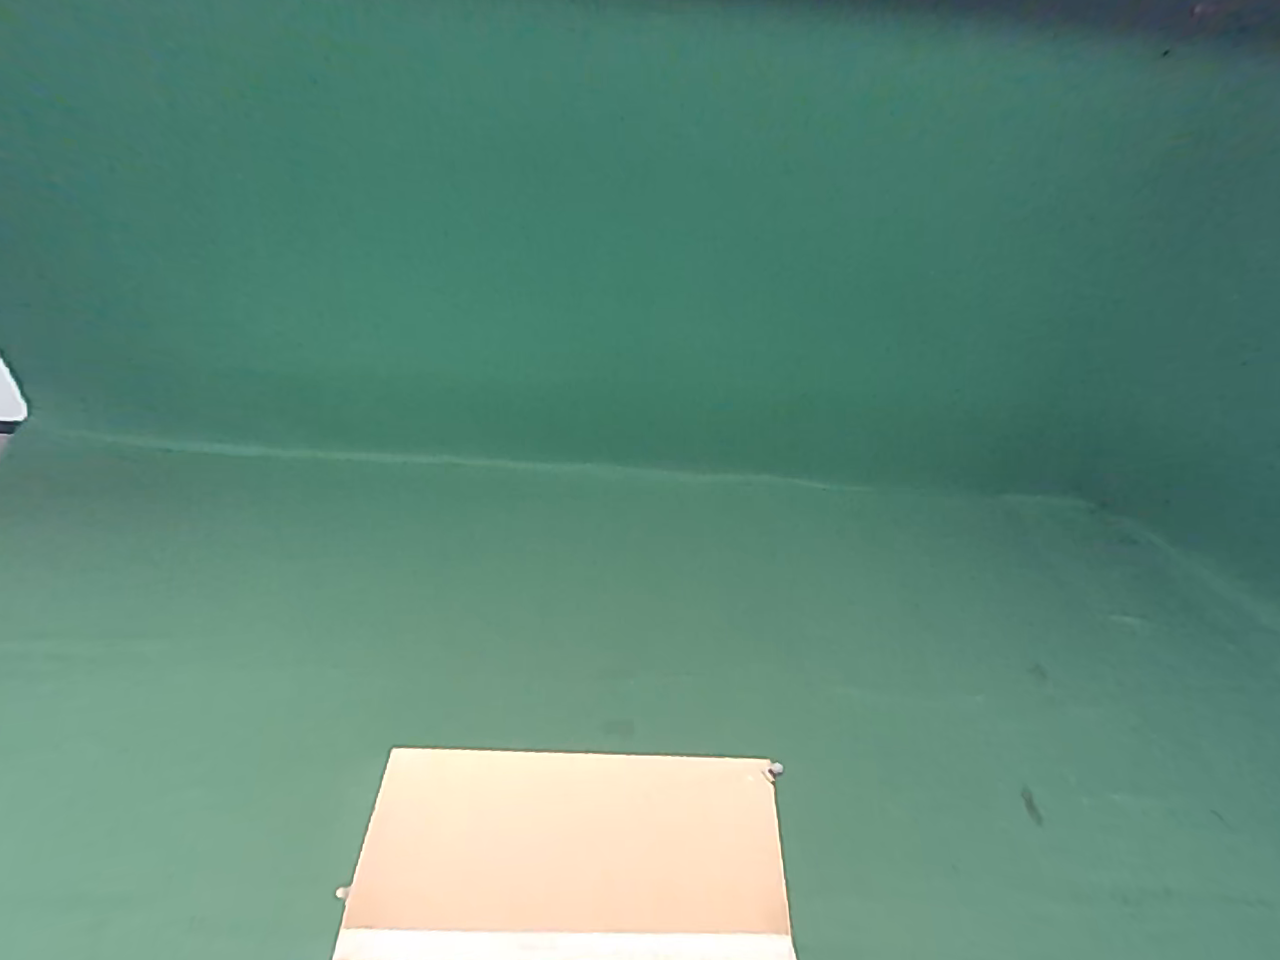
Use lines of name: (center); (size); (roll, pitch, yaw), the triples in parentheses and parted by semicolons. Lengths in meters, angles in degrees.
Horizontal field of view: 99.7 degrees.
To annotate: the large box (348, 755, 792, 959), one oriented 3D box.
large box: (-0.070, 0.515, 0.601); (0.408, 0.320, 0.320); (3, 51, -3)
